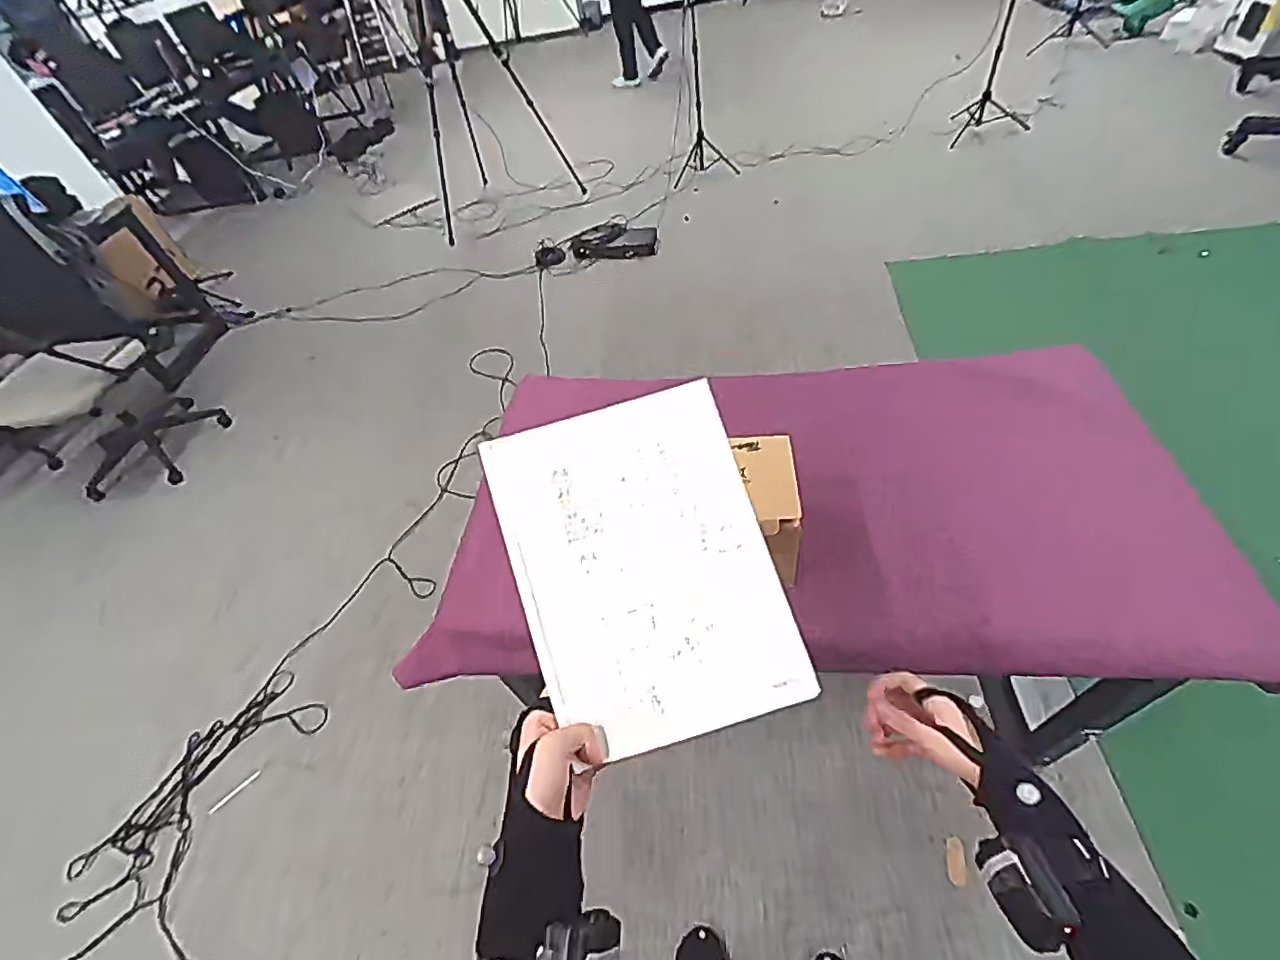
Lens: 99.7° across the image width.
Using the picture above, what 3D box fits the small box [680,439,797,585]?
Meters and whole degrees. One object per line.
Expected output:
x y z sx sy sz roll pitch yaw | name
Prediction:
0.157 0.056 0.864 0.168 0.176 0.179 -2 50 9 | small box
